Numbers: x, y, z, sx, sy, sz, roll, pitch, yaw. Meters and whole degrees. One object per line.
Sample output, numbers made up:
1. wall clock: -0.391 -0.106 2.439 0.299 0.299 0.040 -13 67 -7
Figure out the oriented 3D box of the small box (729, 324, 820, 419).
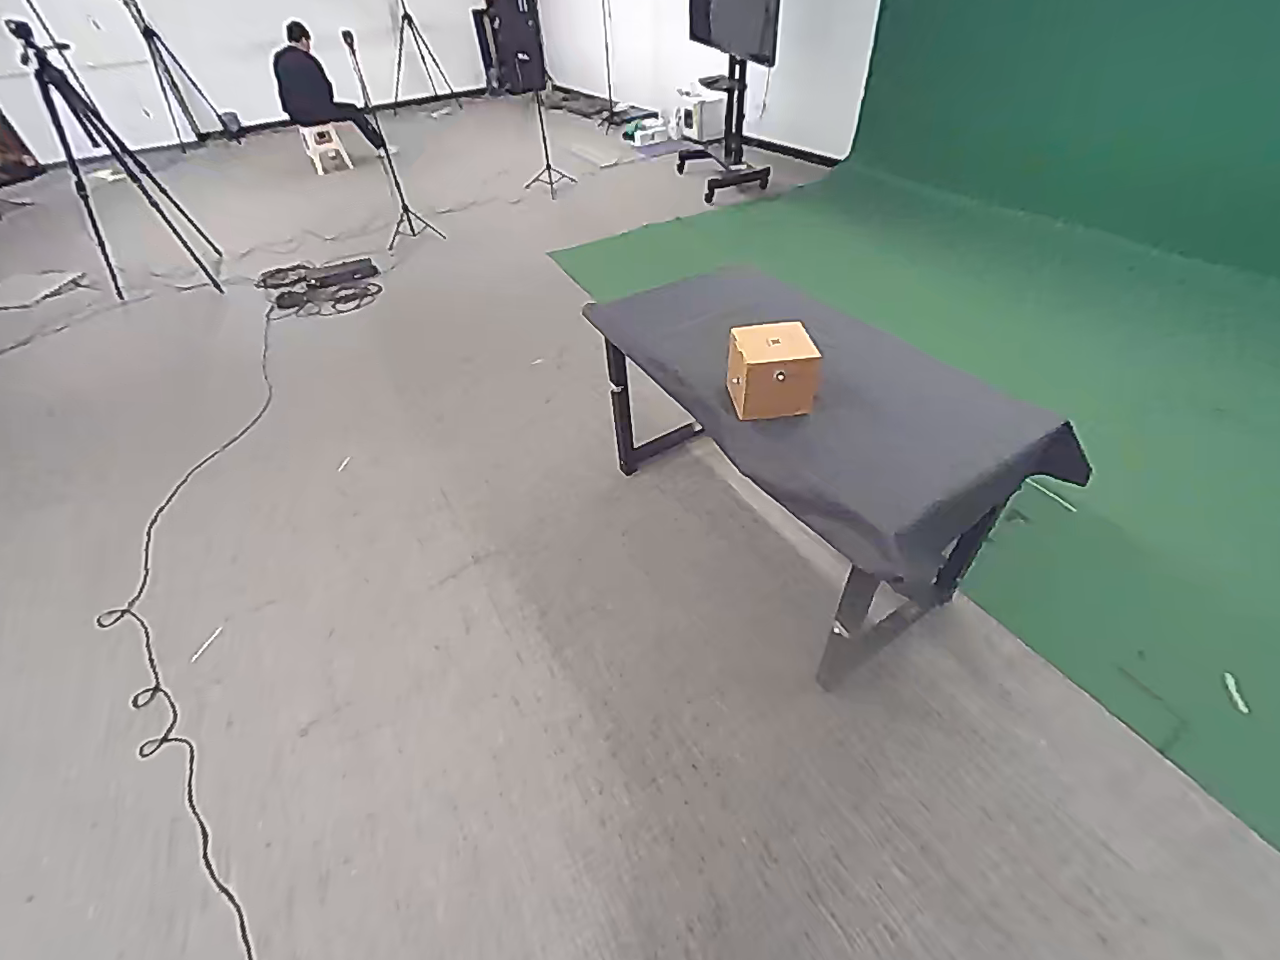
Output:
1. small box: 0.321 -0.265 1.336 0.179 0.176 0.168 -6 45 -3
